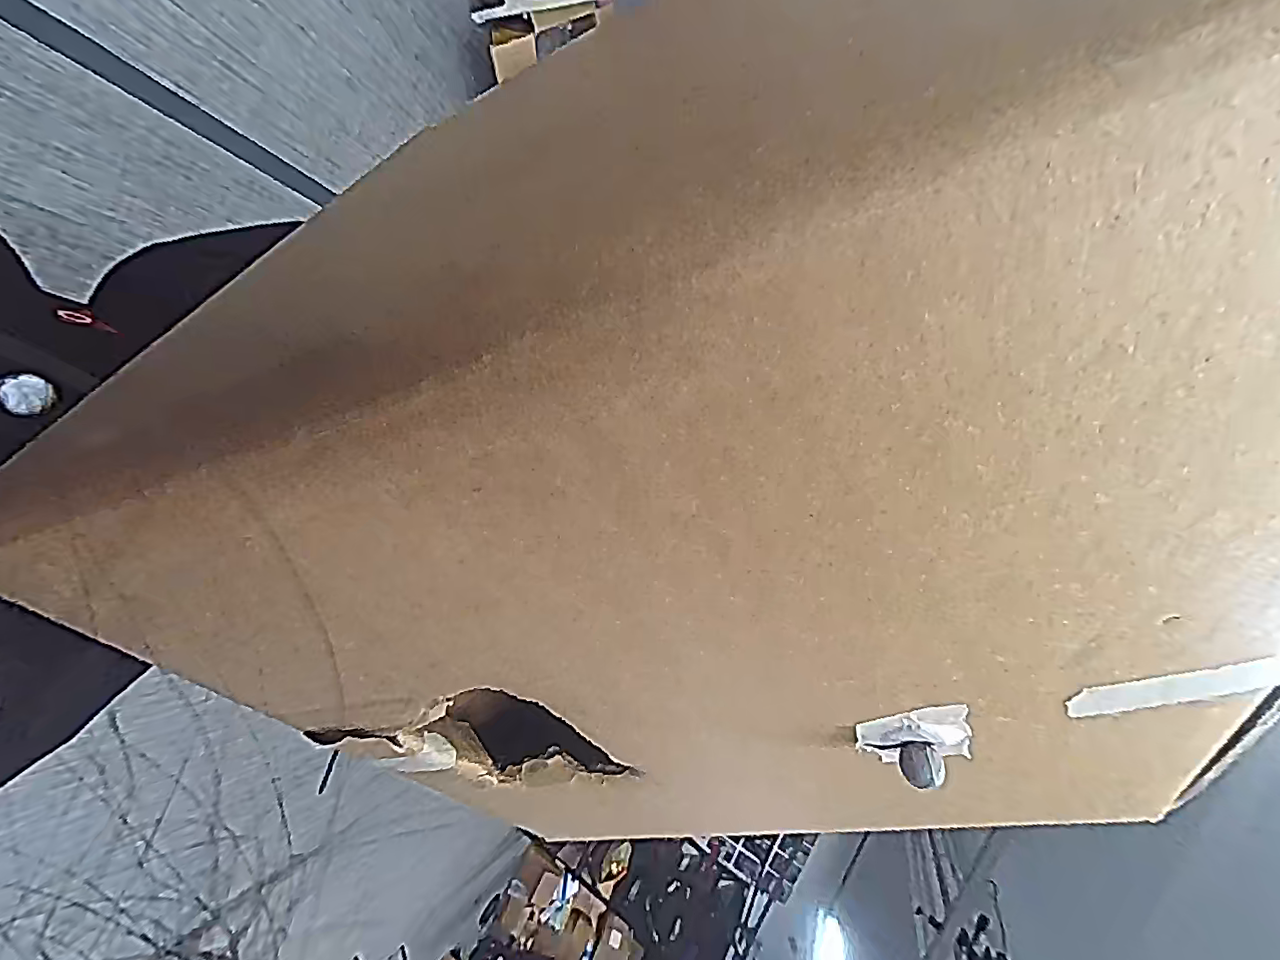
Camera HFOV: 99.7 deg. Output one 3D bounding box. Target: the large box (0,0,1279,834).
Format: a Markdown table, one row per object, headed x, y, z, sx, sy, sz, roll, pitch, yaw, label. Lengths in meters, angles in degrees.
| x | y | z | sx | sy | sz | roll | pitch | yaw | label |
| --- | --- | --- | --- | --- | --- | --- | --- | --- | --- |
| 0.024 | -0.057 | 0.329 | 0.408 | 0.320 | 0.320 | -85 | 154 | -45 | large box |
